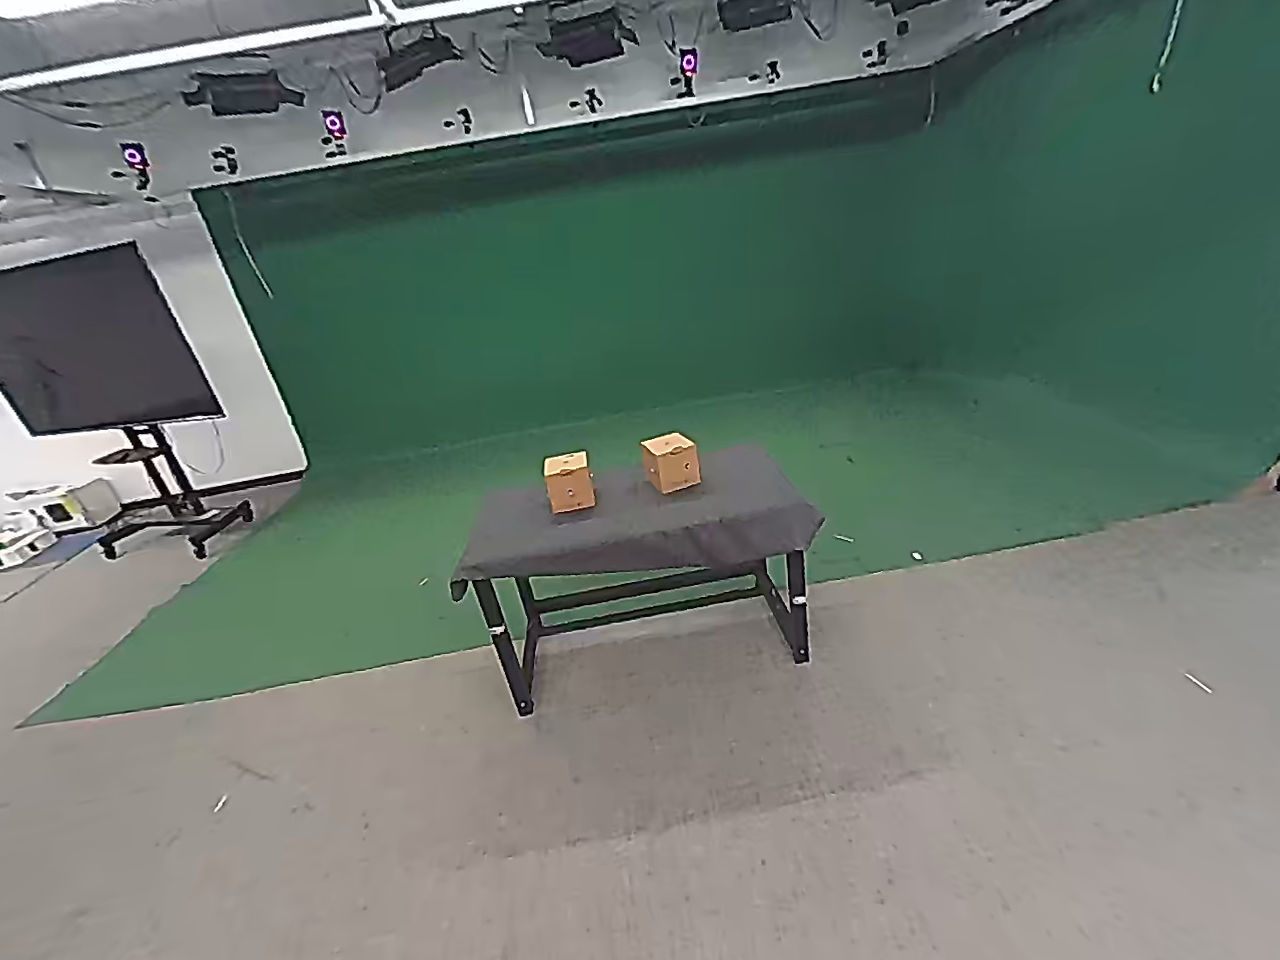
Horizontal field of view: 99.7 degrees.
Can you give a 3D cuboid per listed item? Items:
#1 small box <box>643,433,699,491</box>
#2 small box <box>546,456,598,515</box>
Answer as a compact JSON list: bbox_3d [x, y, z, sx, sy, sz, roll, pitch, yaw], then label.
[{"bbox_3d":[0.124,-0.068,2.144,0.168,0.176,0.179,-14,24,-14],"label":"small box"},{"bbox_3d":[-0.269,0.027,2.135,0.168,0.176,0.179,-13,24,-5],"label":"small box"}]
